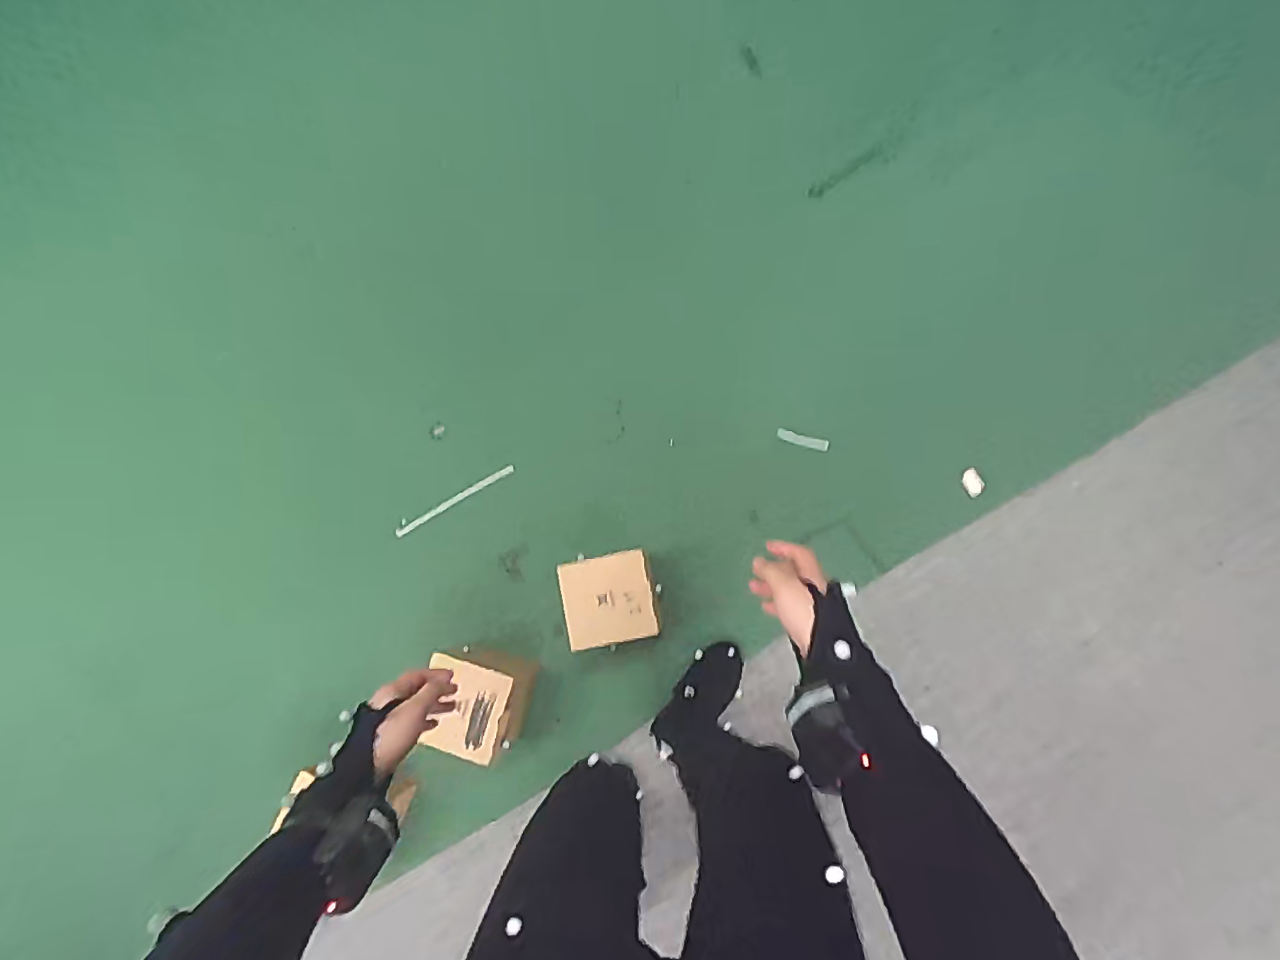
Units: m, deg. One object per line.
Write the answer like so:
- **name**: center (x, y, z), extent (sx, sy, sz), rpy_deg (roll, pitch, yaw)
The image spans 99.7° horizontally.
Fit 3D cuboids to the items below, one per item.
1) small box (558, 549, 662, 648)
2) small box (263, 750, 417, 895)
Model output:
- **small box**: center (-0.057, 0.245, 1.128), extent (0.179, 0.176, 0.168), rpy_deg (-12, 79, 2)
- **small box**: center (-0.595, 0.675, 1.094), extent (0.179, 0.176, 0.168), rpy_deg (23, 82, 8)
